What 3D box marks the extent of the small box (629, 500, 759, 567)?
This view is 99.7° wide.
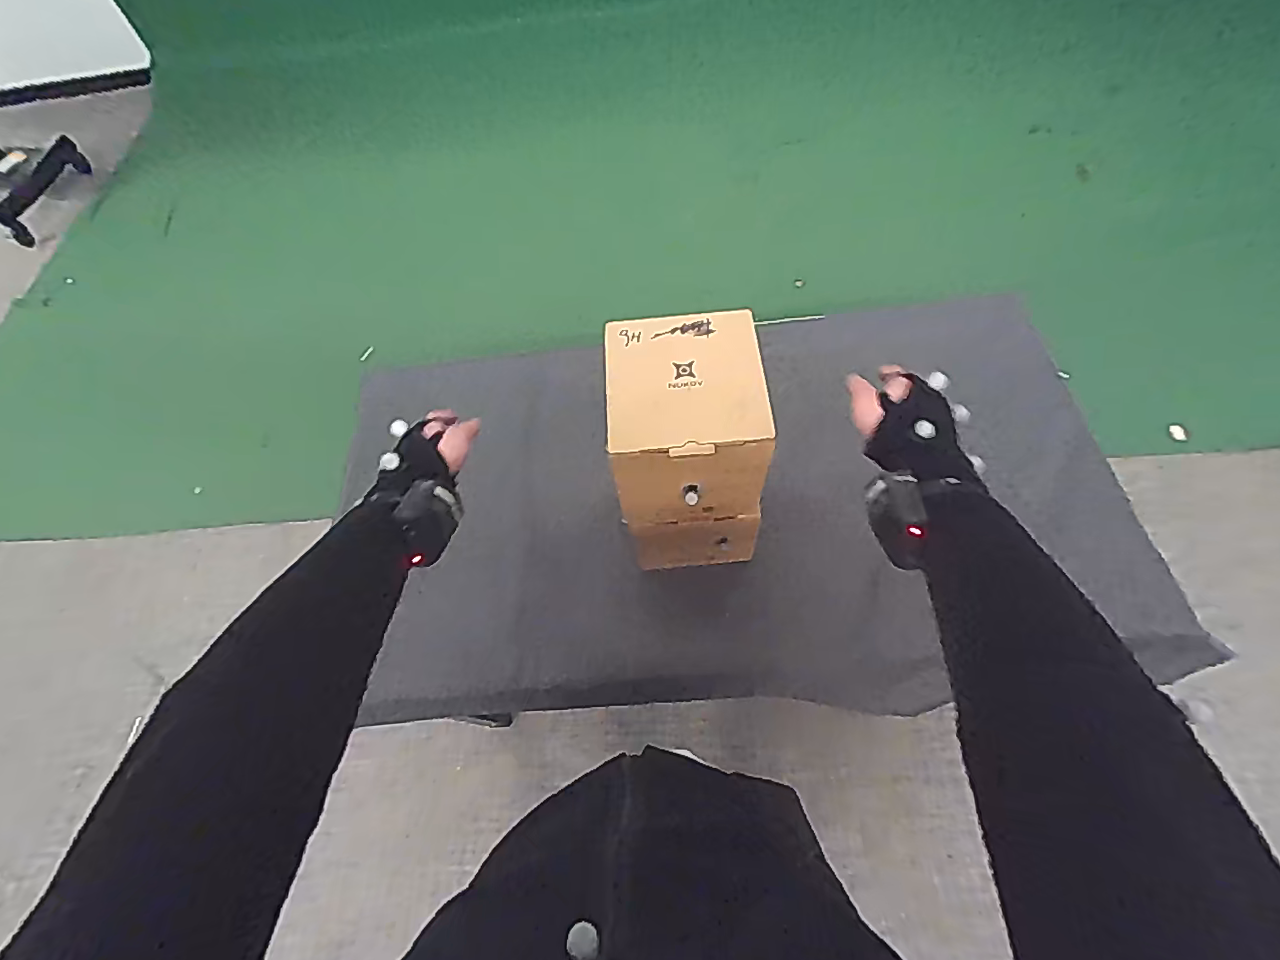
[{"bbox_3d":[0.070,0.019,0.779,0.168,0.176,0.179,-6,60,2],"label":"small box"}]

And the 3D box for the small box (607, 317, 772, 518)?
[{"bbox_3d":[0.053,-0.062,0.637,0.168,0.176,0.179,-4,63,3],"label":"small box"}]
